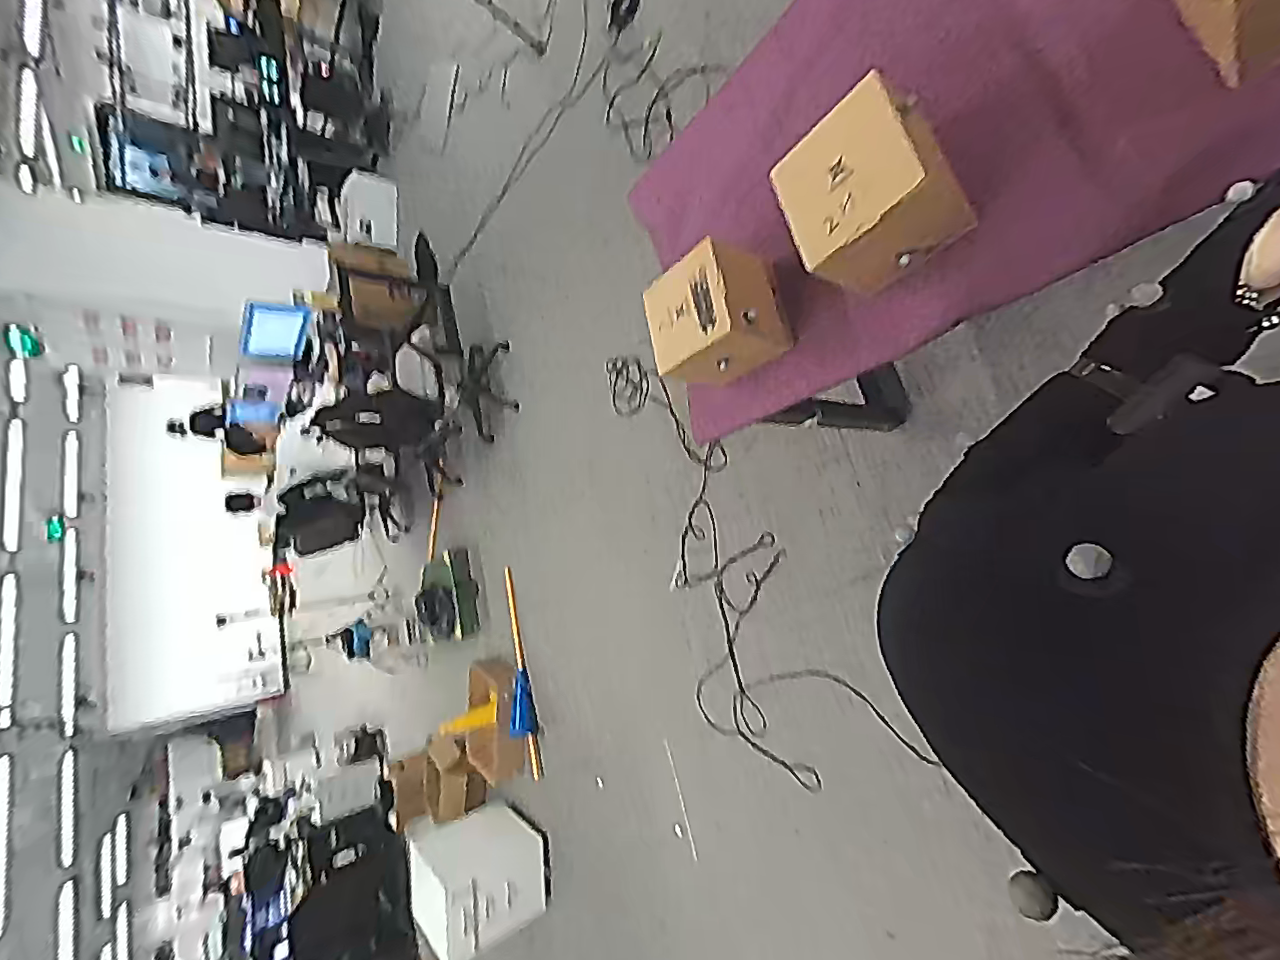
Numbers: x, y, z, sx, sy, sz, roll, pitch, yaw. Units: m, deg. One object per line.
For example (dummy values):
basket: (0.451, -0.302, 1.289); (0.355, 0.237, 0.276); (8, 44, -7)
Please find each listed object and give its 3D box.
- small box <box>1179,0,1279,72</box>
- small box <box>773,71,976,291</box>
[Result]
small box: (0.565, -0.501, 0.452); (0.168, 0.176, 0.179); (-31, 69, 46)
small box: (0.318, -0.390, 0.741); (0.168, 0.176, 0.179); (-32, 66, 46)
